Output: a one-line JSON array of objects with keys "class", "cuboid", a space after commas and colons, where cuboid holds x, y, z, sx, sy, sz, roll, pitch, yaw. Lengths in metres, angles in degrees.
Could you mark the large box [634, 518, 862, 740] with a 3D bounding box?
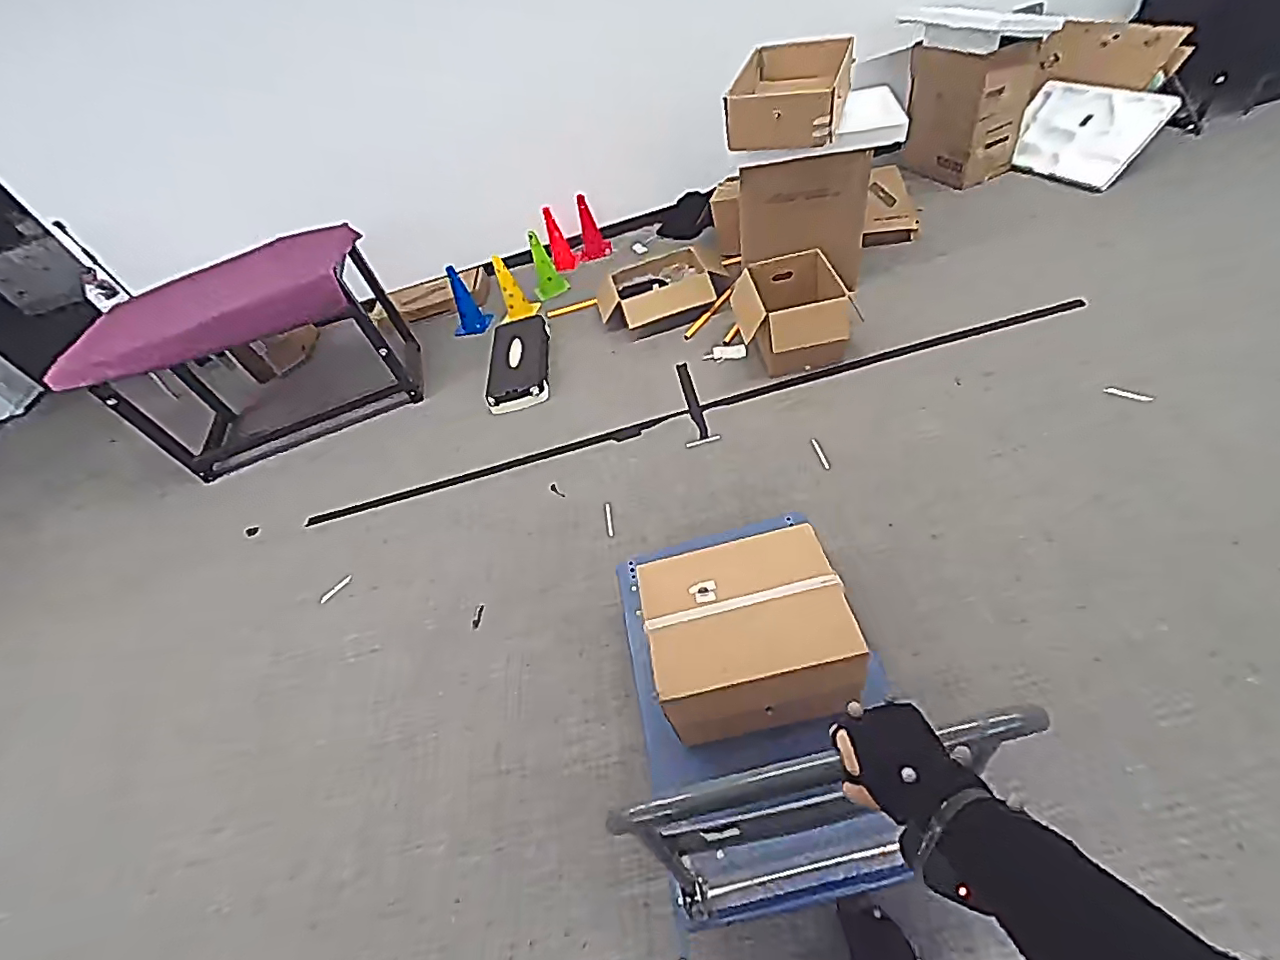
[{"class": "large box", "cuboid": [0.234, 0.342, 1.213, 0.408, 0.320, 0.320, -16, 46, 5]}]
